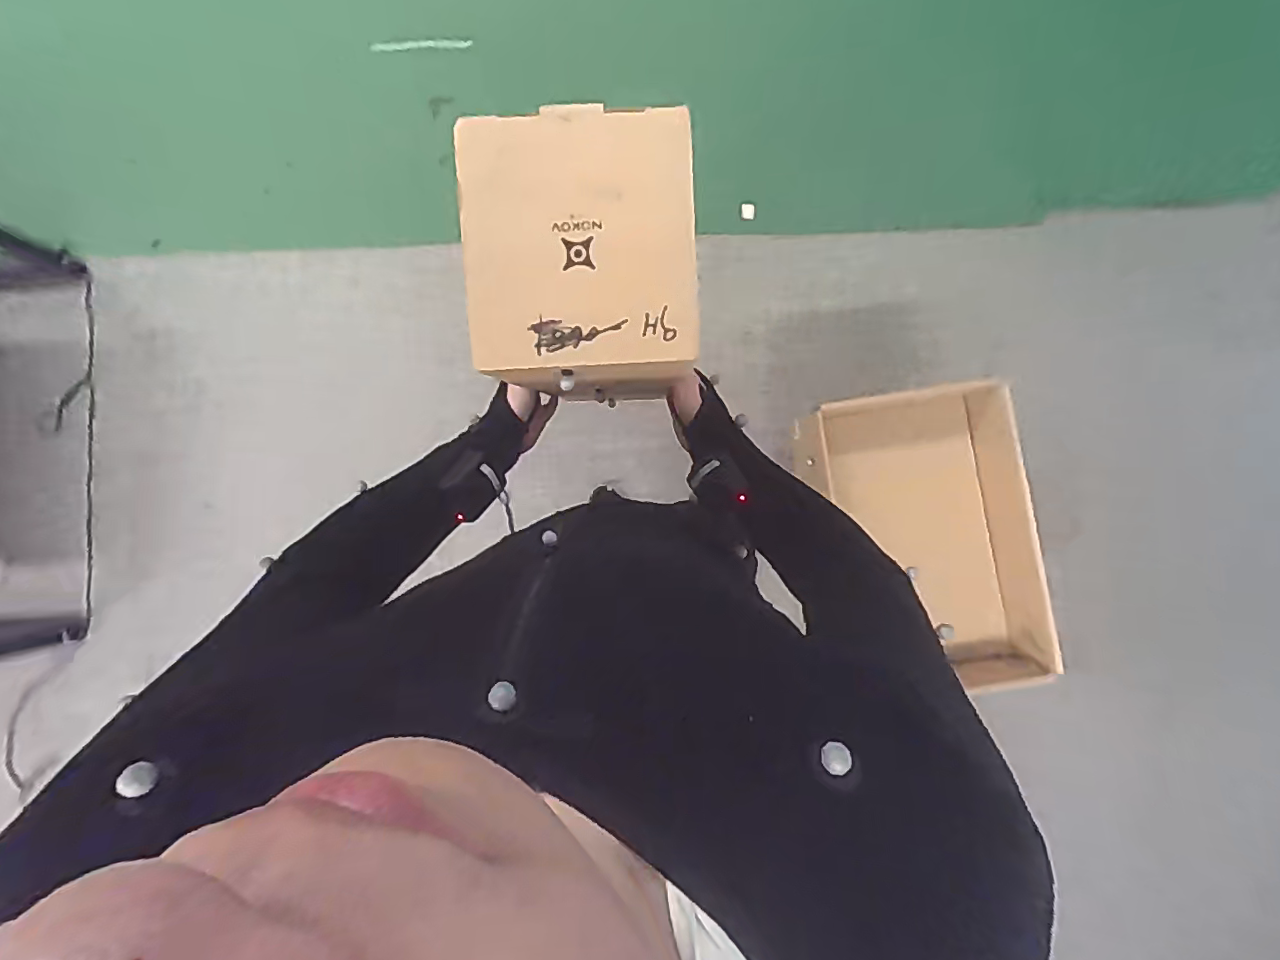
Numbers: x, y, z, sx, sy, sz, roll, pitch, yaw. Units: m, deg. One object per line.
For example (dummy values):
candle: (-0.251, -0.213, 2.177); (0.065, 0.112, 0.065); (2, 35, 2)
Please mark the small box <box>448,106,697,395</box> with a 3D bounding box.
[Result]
small box: (-0.046, -0.169, 0.451); (0.168, 0.176, 0.179); (-3, 95, 0)
